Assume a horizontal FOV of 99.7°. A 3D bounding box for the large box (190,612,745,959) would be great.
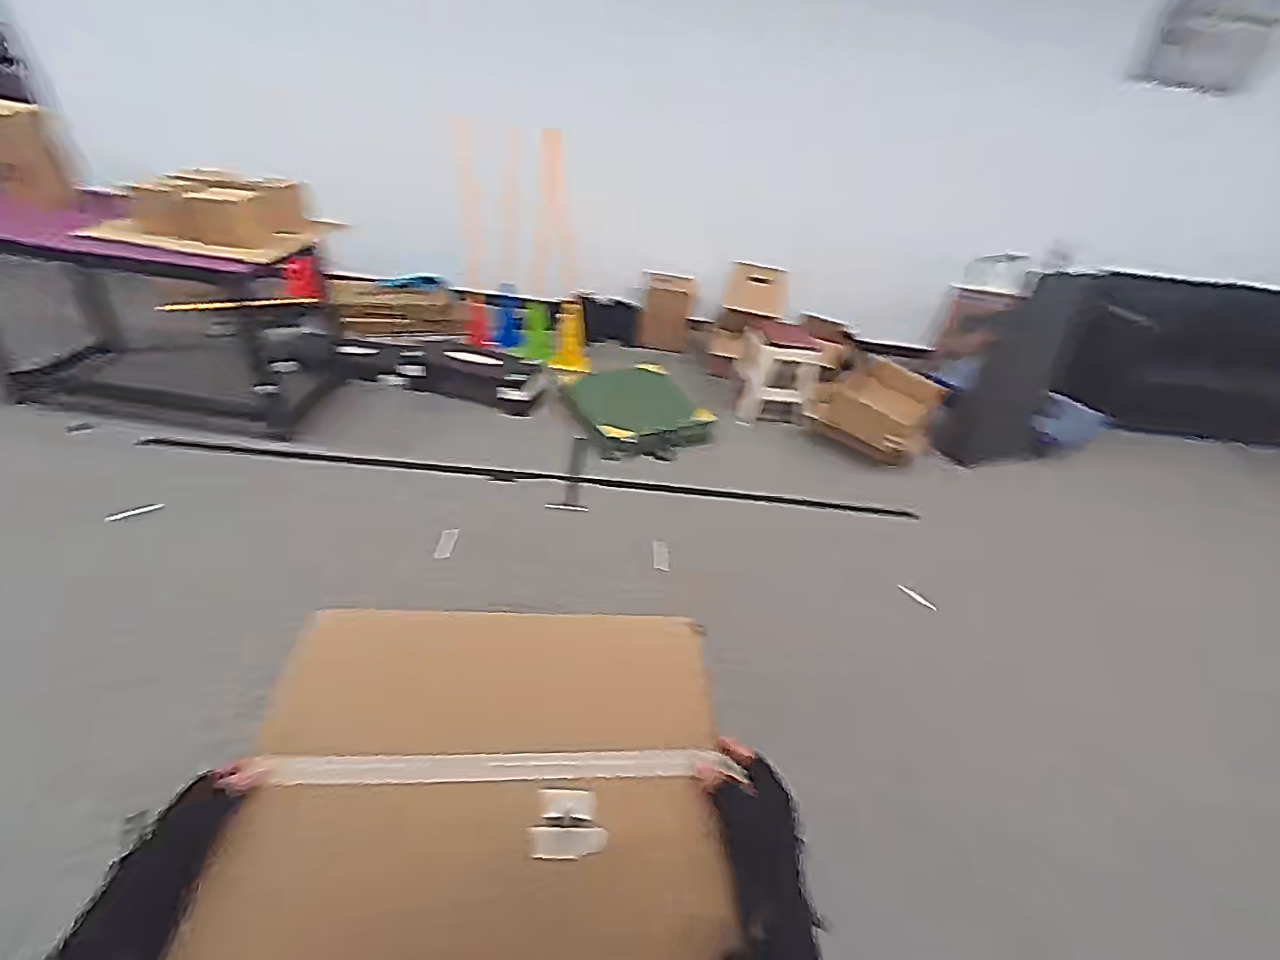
[{"bbox_3d":[-0.145,0.364,0.590,0.408,0.320,0.320,4,44,-7],"label":"large box"}]
